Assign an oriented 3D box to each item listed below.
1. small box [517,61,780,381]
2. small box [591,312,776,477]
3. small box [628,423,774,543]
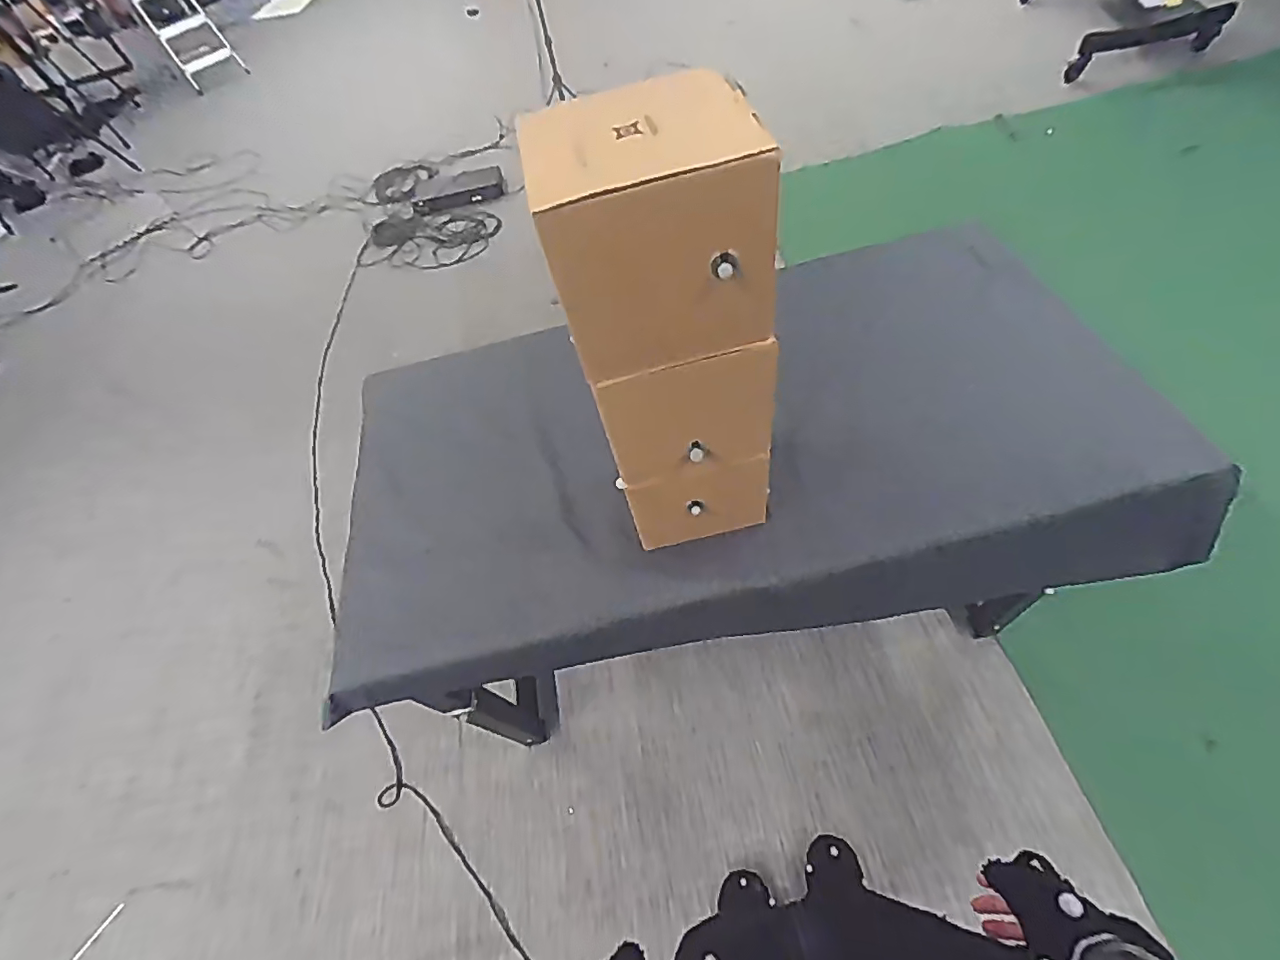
[{"bbox_3d":[0.008,-0.216,0.472,0.179,0.176,0.168,-15,55,2],"label":"small box"},{"bbox_3d":[0.038,-0.127,0.604,0.179,0.176,0.168,-13,56,2],"label":"small box"},{"bbox_3d":[0.066,-0.036,0.738,0.179,0.176,0.168,-15,57,-1],"label":"small box"}]
